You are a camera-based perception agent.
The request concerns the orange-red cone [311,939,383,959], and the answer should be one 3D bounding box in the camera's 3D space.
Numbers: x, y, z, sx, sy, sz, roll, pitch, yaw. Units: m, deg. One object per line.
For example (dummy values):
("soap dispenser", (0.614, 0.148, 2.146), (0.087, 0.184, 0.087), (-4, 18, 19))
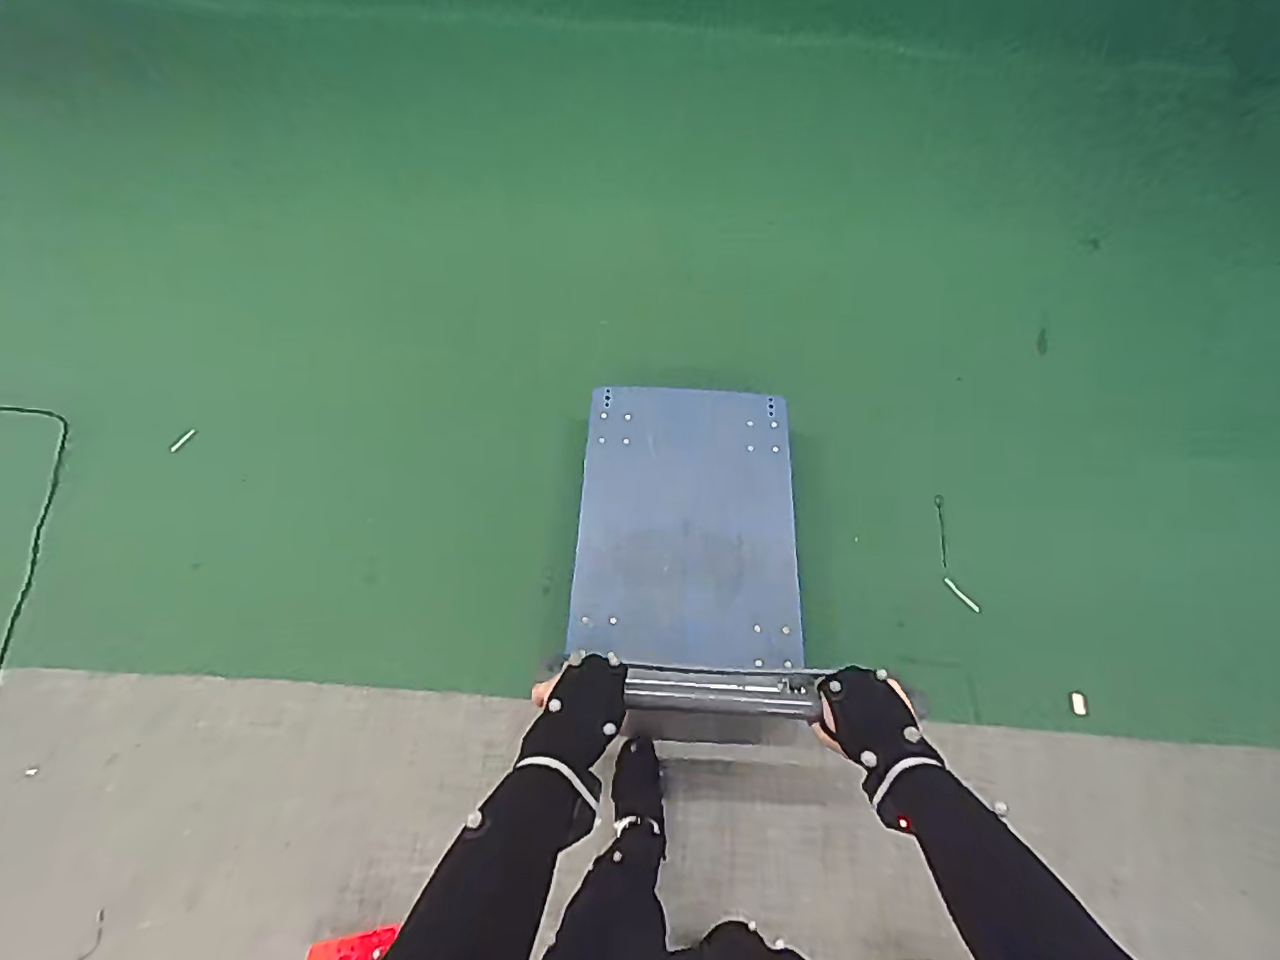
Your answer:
("orange-red cone", (-0.604, 1.023, 0.992), (0.199, 0.360, 0.198), (-10, 65, -4))
